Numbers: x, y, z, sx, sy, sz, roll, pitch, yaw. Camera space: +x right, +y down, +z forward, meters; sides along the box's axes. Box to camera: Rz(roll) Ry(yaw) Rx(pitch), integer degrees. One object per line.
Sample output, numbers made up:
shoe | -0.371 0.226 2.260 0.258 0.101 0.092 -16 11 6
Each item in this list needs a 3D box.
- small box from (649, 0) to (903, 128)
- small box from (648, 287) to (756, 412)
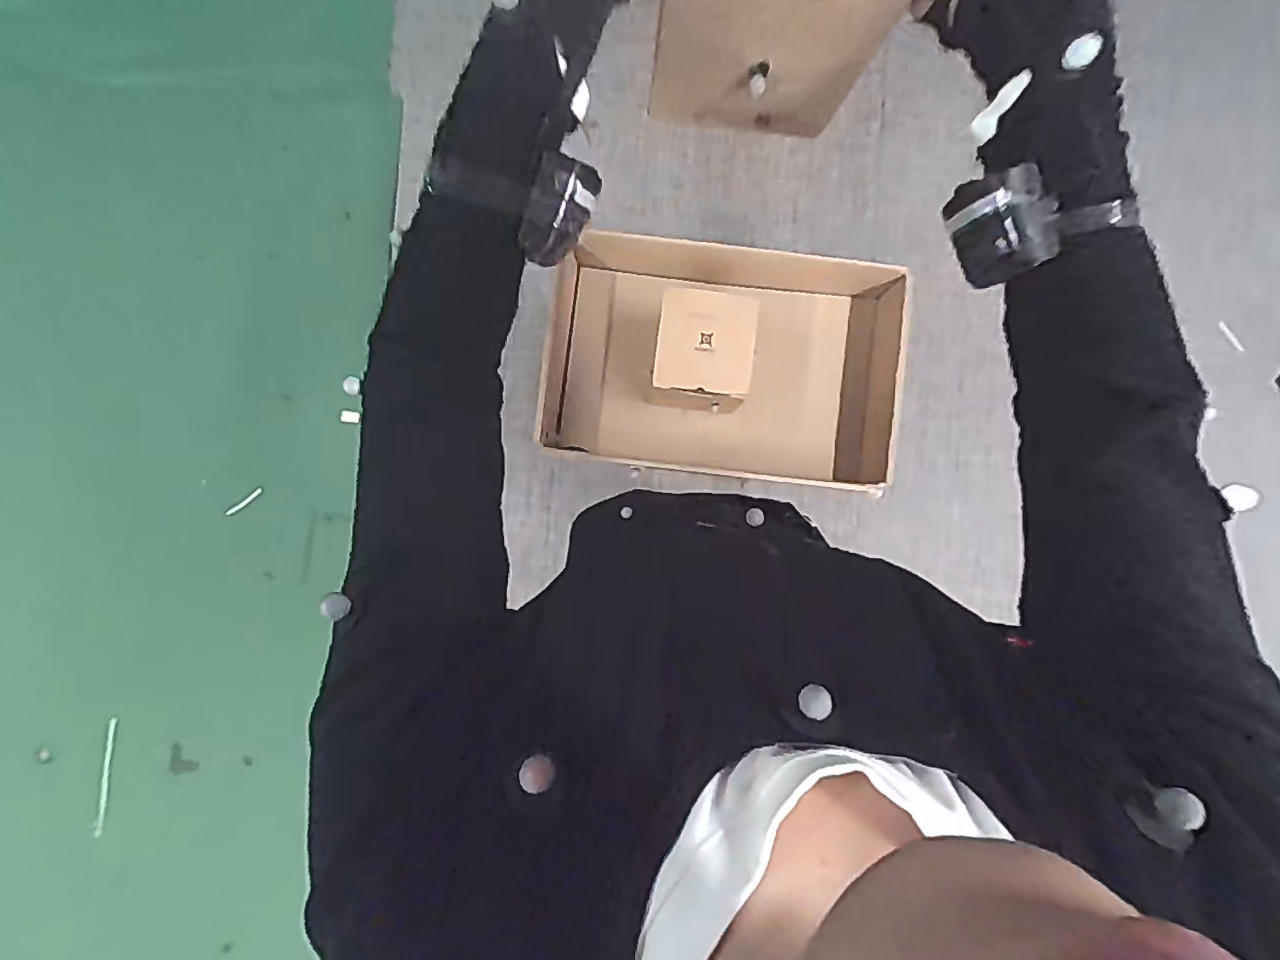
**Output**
small box | 0.098 -0.406 0.410 0.168 0.176 0.179 4 94 -4
small box | 0.105 -0.227 0.988 0.168 0.176 0.179 6 86 -2
